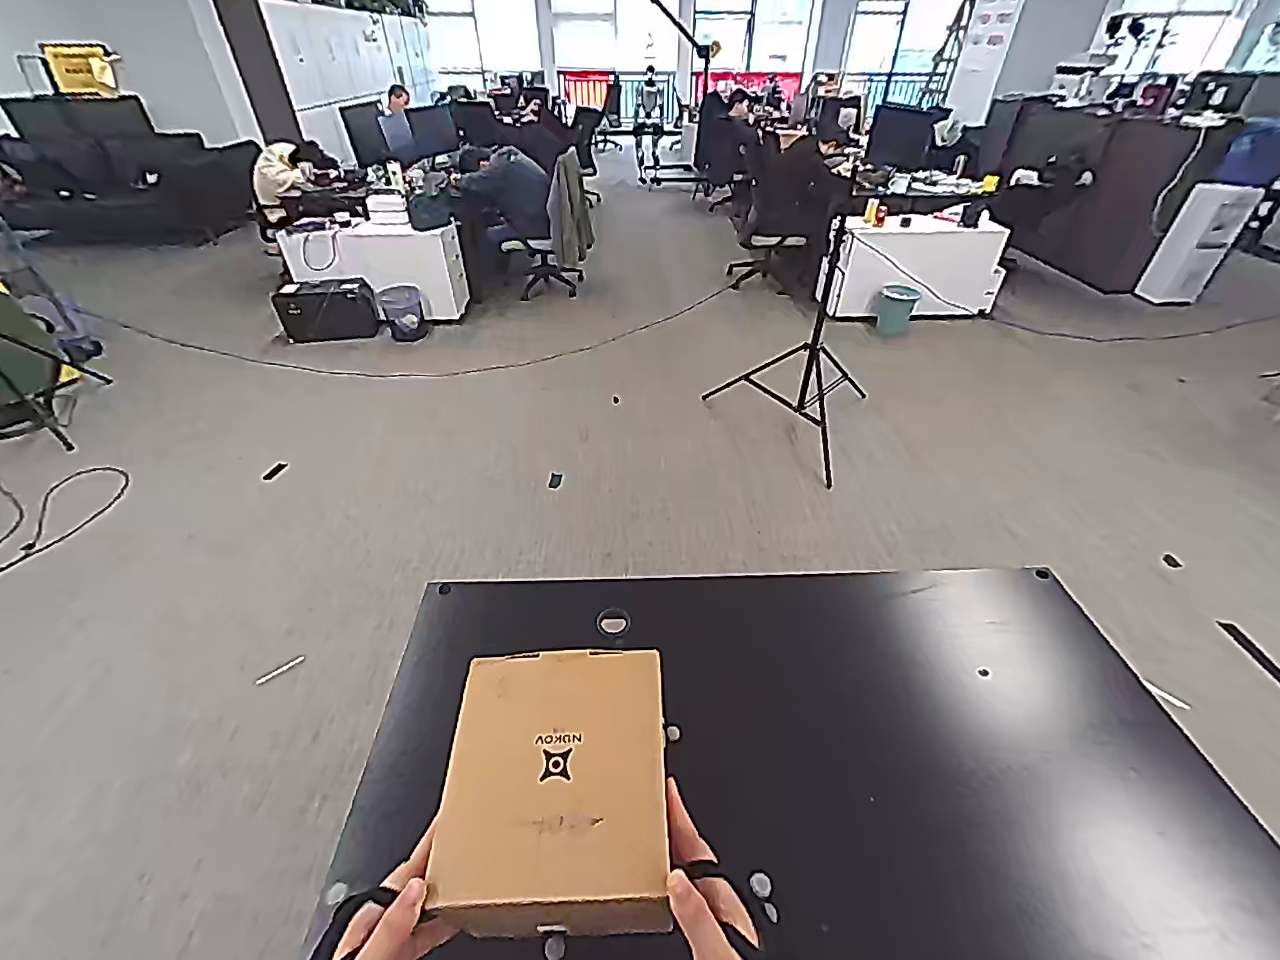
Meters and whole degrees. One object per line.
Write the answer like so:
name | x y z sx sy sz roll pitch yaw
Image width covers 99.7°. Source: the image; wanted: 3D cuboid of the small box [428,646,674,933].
small box | -0.059 0.267 0.470 0.168 0.176 0.179 -3 44 1
